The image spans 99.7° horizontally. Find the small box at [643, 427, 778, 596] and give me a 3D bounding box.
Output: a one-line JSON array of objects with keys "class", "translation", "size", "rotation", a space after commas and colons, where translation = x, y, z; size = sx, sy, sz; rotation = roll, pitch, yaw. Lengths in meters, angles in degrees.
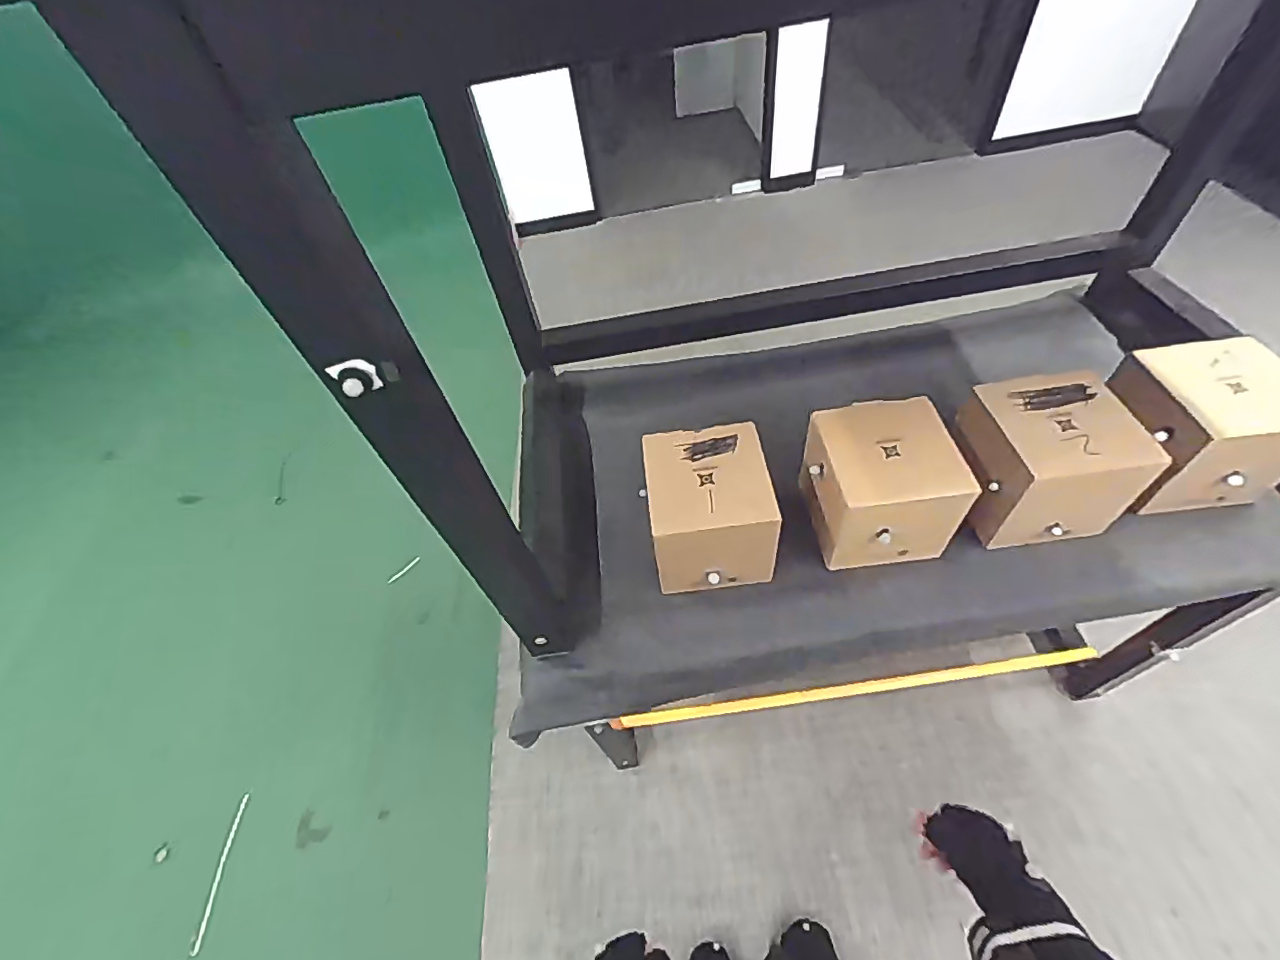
[{"class": "small box", "translation": [0.097, 0.048, 0.796], "size": [0.168, 0.176, 0.179], "rotation": [-8, 52, 3]}]

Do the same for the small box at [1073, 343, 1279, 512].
[{"class": "small box", "translation": [0.786, -0.067, 0.776], "size": [0.168, 0.176, 0.179], "rotation": [-7, 50, 4]}]

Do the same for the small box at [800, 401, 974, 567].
[{"class": "small box", "translation": [0.340, 0.014, 0.786], "size": [0.168, 0.176, 0.179], "rotation": [-7, 50, 3]}]
